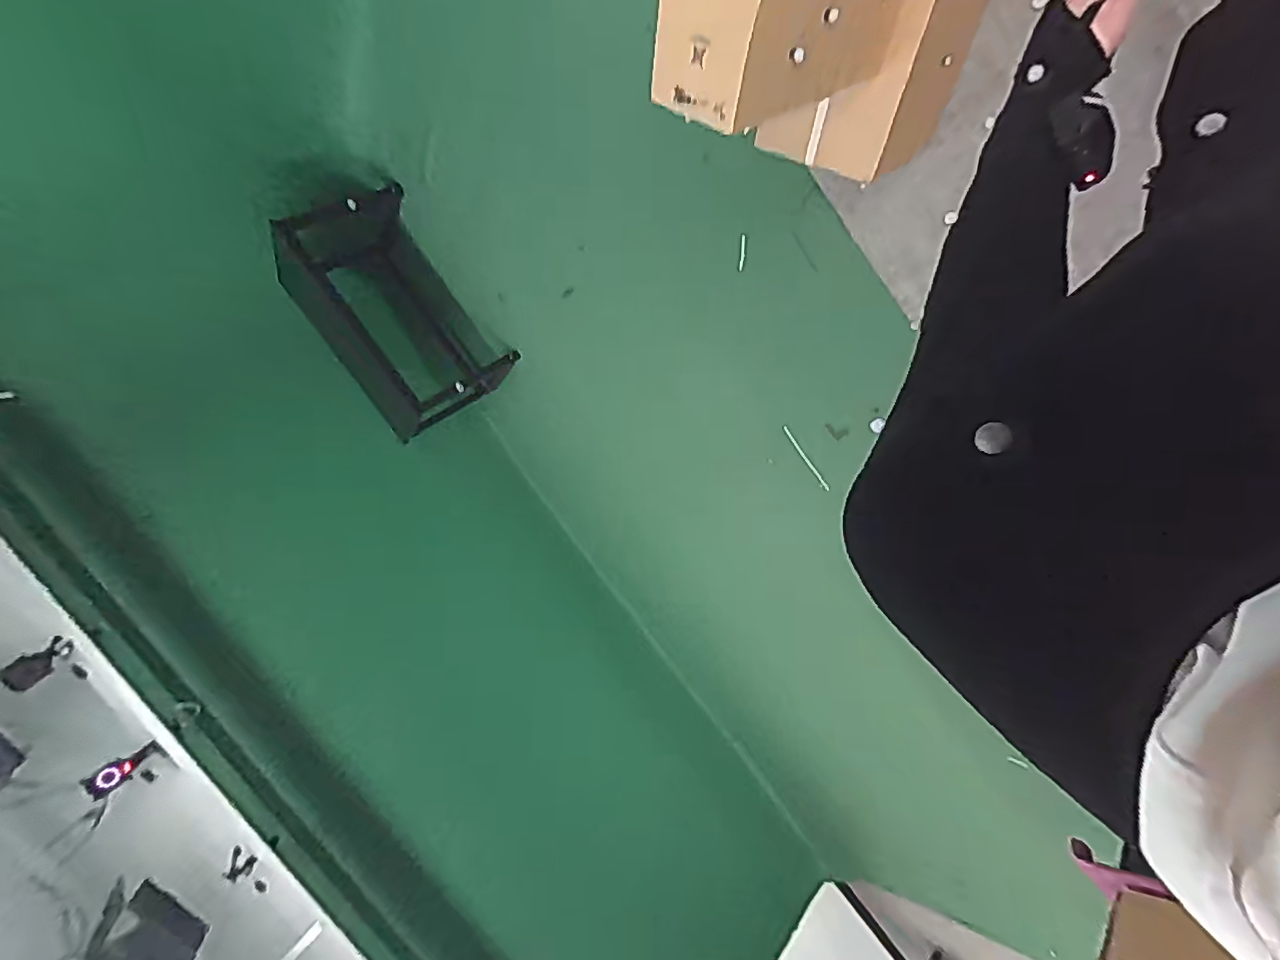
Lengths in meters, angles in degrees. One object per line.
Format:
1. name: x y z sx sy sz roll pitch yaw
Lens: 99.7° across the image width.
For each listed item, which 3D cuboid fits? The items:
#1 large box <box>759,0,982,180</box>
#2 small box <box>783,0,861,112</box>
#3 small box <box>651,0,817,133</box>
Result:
1. large box: 0.503 -0.948 1.171 0.320 0.320 0.408 36 148 24
2. small box: 0.246 -0.759 0.905 0.168 0.176 0.179 38 148 20
3. small box: 0.141 -0.667 0.820 0.168 0.176 0.179 38 146 20
